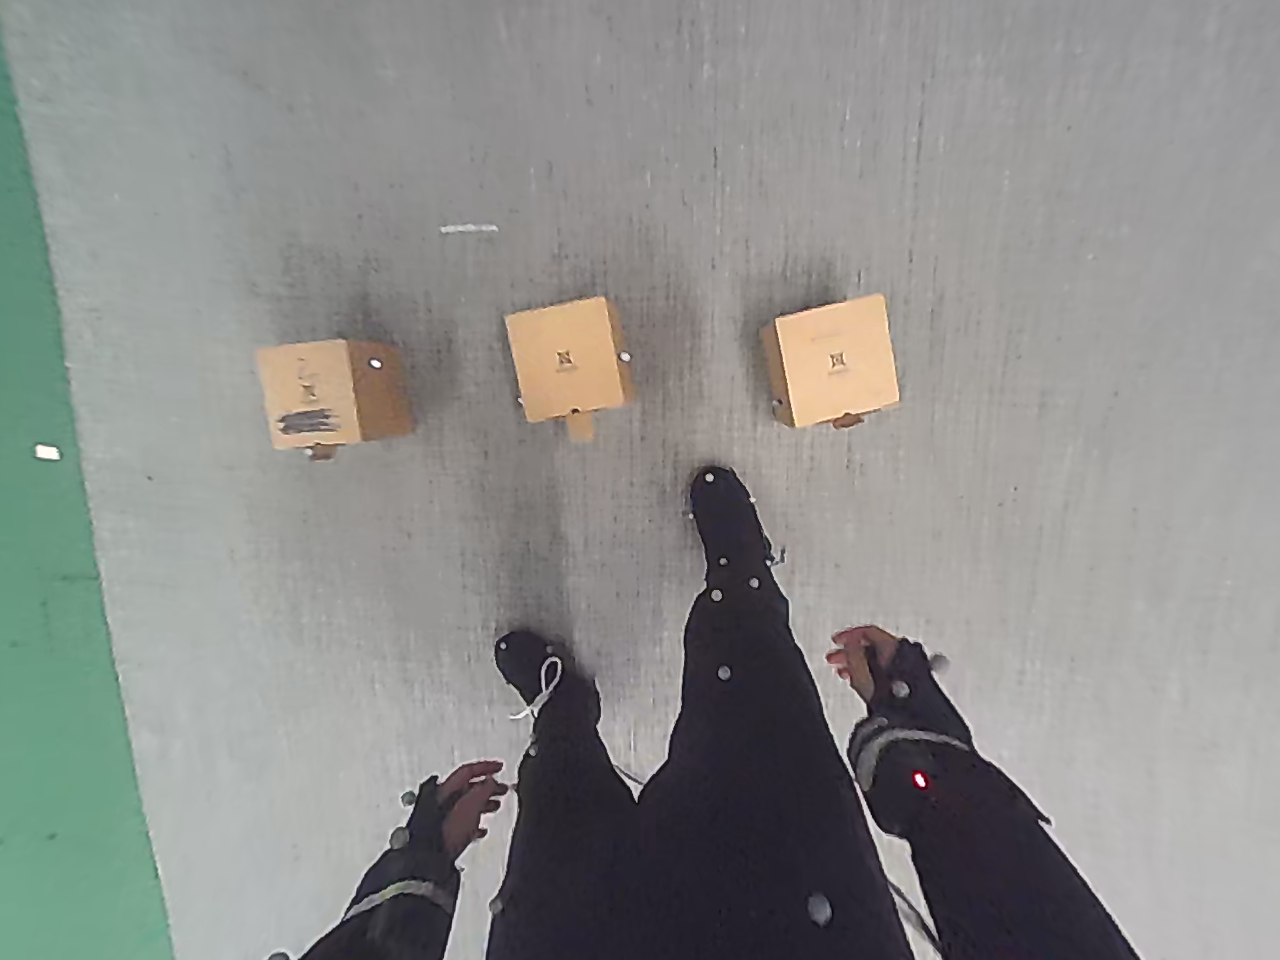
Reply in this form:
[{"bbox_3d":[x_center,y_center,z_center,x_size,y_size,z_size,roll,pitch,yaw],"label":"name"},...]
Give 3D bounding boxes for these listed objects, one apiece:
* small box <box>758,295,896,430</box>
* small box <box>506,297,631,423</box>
[{"bbox_3d":[0.304,-0.192,0.907,0.168,0.176,0.179,-13,98,6],"label":"small box"},{"bbox_3d":[-0.115,-0.202,0.939,0.168,0.176,0.179,-10,100,6],"label":"small box"}]
